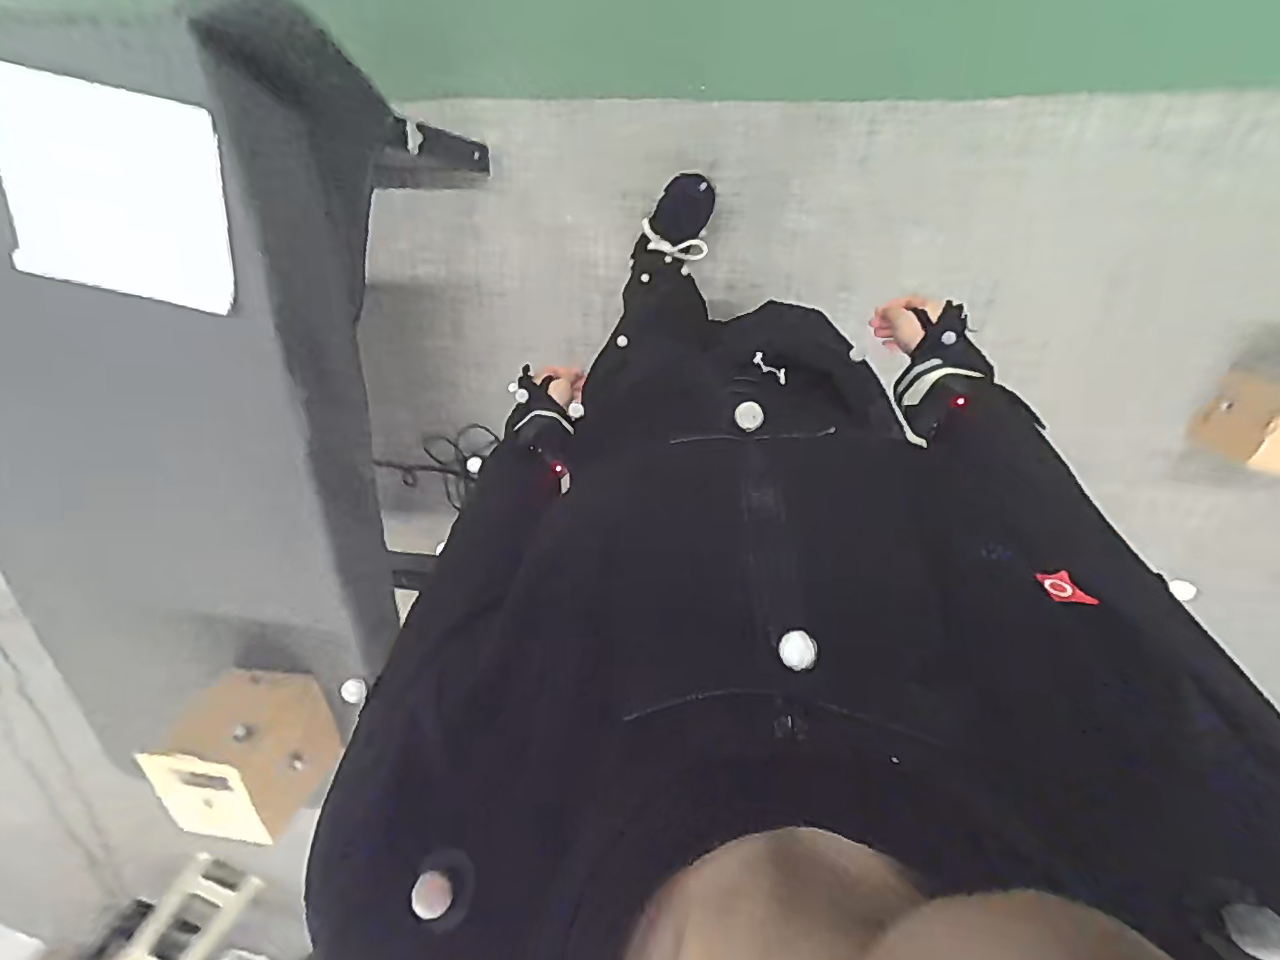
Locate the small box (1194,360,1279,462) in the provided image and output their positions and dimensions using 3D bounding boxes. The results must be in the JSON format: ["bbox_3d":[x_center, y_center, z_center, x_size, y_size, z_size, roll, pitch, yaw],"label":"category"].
[{"bbox_3d":[1.299,-0.136,1.081,0.179,0.176,0.168,9,116,7],"label":"small box"}]
